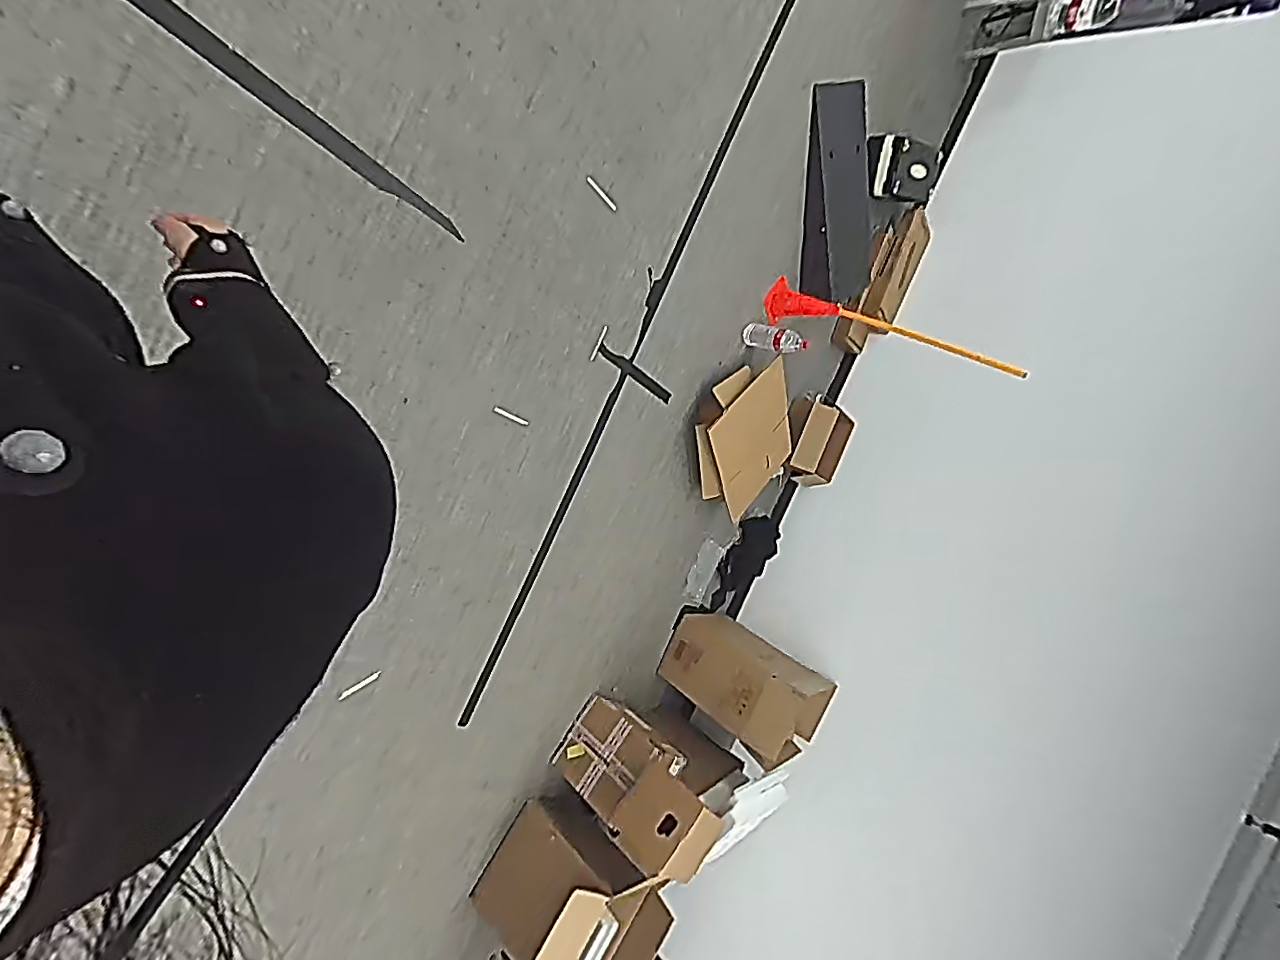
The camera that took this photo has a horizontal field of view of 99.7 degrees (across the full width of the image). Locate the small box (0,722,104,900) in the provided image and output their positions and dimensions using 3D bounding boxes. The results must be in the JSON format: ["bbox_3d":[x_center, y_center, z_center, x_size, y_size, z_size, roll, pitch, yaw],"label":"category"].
[{"bbox_3d":[-1.003,0.514,0.843,0.168,0.176,0.179,-35,134,-30],"label":"small box"}]
